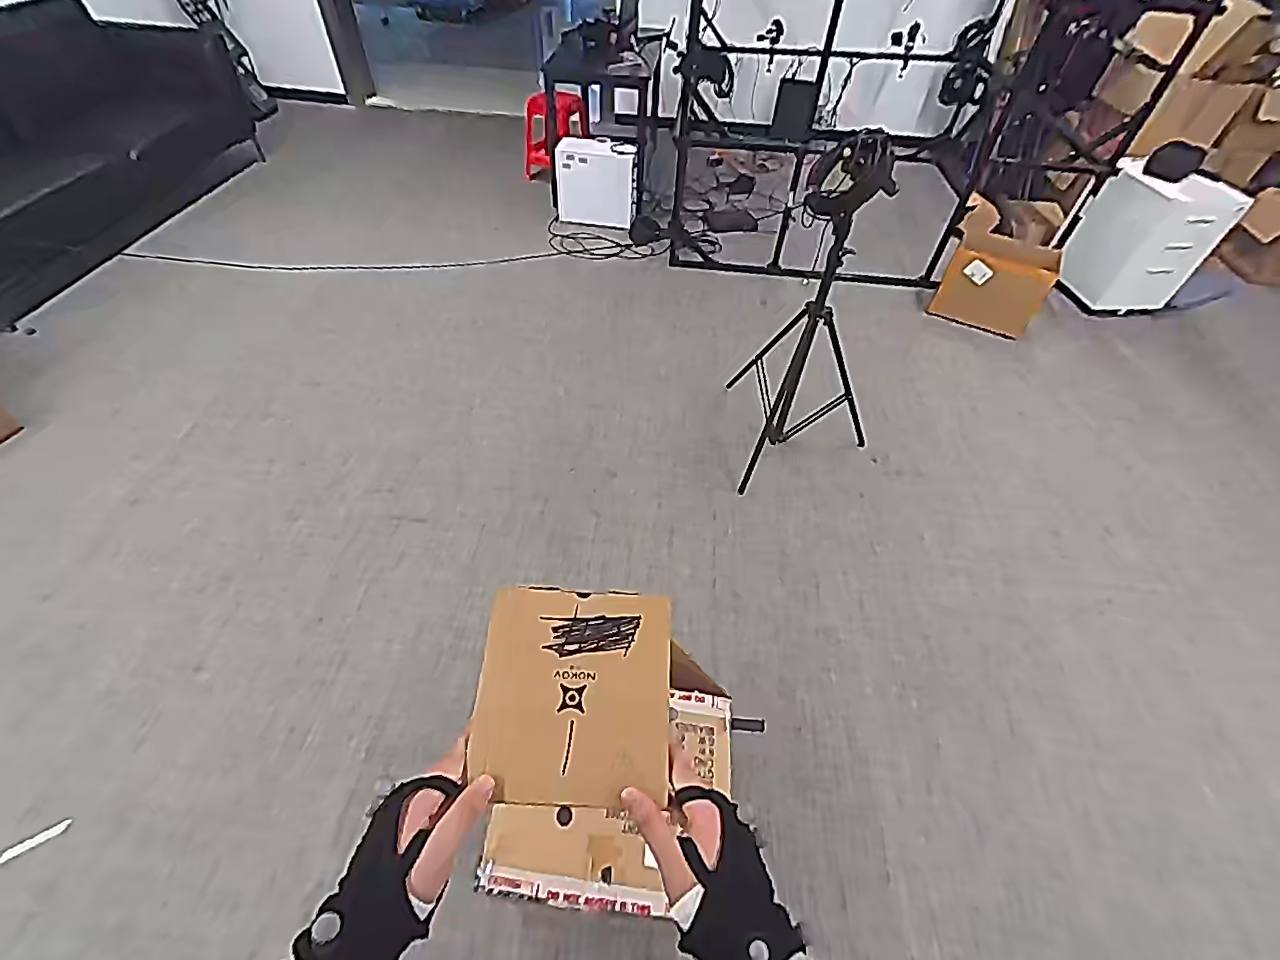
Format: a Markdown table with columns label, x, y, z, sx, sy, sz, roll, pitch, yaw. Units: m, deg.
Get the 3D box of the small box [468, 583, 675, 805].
| label | x | y | z | sx | sy | sz | roll | pitch | yaw |
| --- | --- | --- | --- | --- | --- | --- | --- | --- | --- |
| small box | -0.057 | 0.218 | 0.539 | 0.168 | 0.176 | 0.179 | 3 | 59 | -1 |
